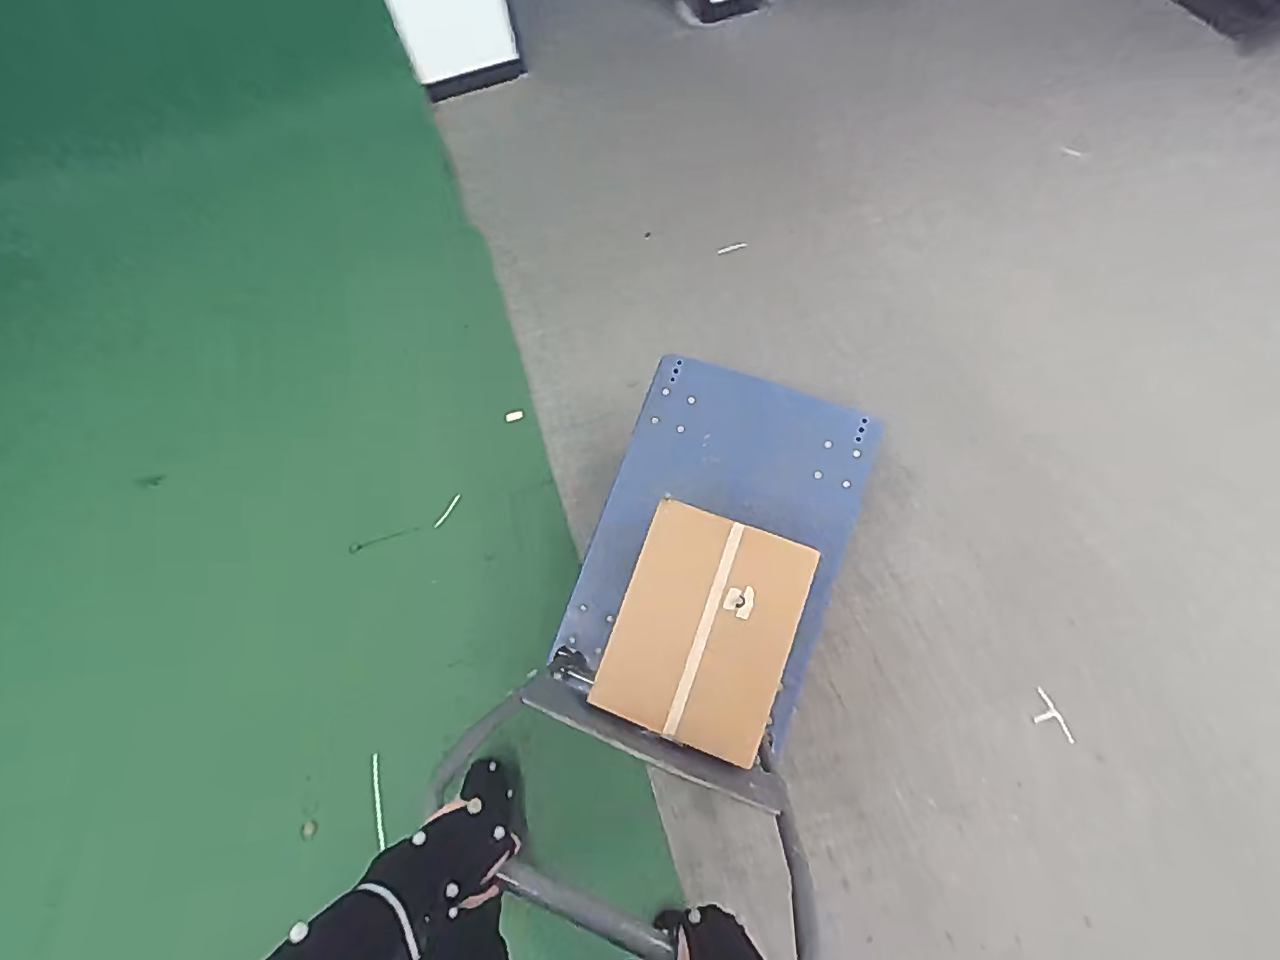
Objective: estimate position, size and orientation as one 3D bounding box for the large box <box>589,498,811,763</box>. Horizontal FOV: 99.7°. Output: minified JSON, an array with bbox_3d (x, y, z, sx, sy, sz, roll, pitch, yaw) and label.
[{"bbox_3d":[0.127,0.296,1.142,0.320,0.320,0.408,20,82,8],"label":"large box"}]
